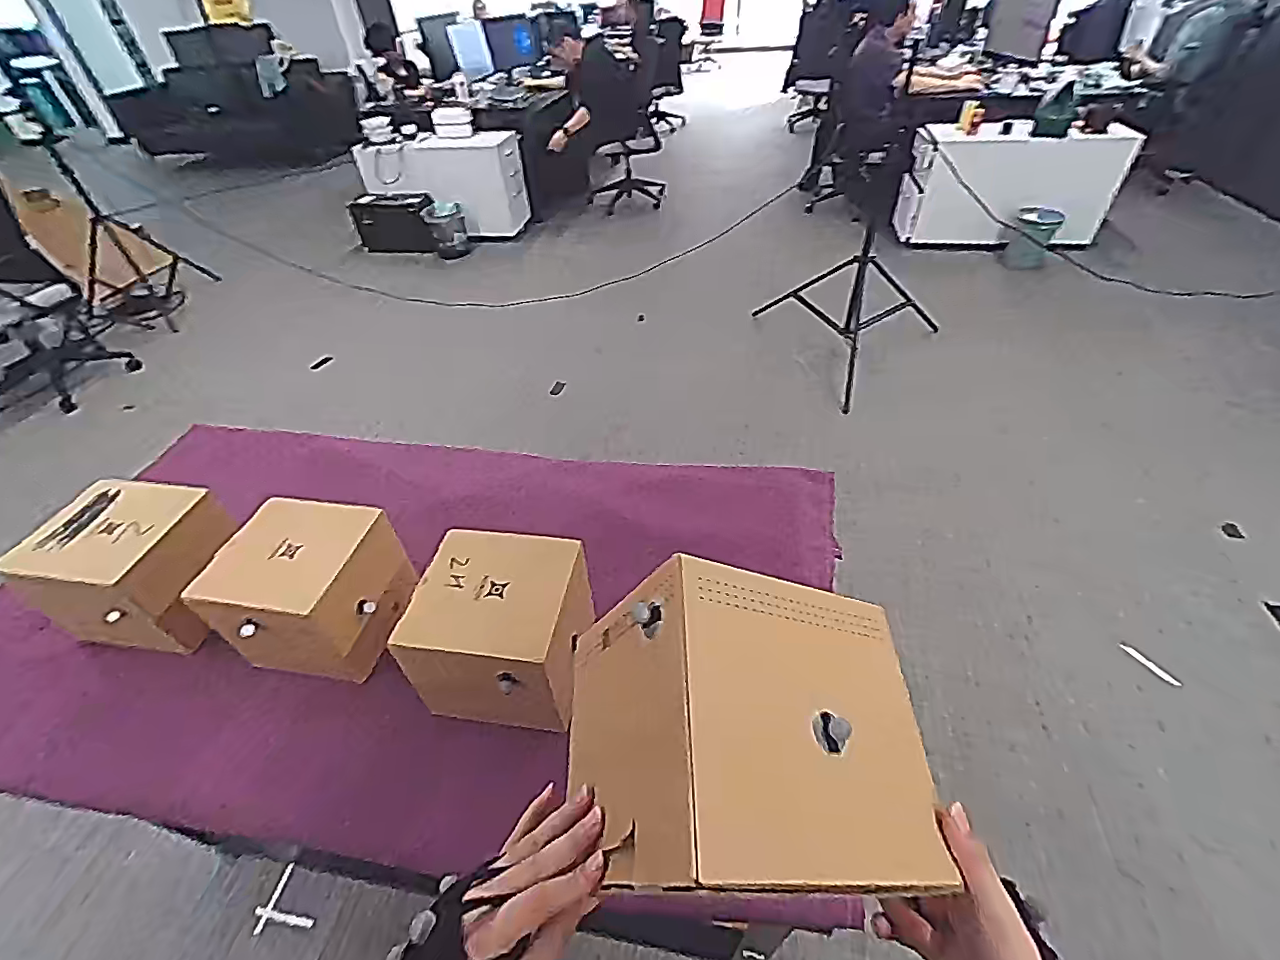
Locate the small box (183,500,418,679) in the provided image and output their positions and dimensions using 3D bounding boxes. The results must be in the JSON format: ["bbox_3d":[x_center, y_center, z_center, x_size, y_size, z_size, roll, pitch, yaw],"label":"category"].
[{"bbox_3d":[-0.432,0.149,0.728,0.179,0.176,0.168,4,44,10],"label":"small box"}]

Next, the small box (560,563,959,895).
[{"bbox_3d":[0.061,0.173,0.366,0.179,0.168,0.176,16,50,-22],"label":"small box"}]

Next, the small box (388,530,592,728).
[{"bbox_3d":[-0.163,0.184,0.664,0.179,0.176,0.168,4,42,9],"label":"small box"}]
